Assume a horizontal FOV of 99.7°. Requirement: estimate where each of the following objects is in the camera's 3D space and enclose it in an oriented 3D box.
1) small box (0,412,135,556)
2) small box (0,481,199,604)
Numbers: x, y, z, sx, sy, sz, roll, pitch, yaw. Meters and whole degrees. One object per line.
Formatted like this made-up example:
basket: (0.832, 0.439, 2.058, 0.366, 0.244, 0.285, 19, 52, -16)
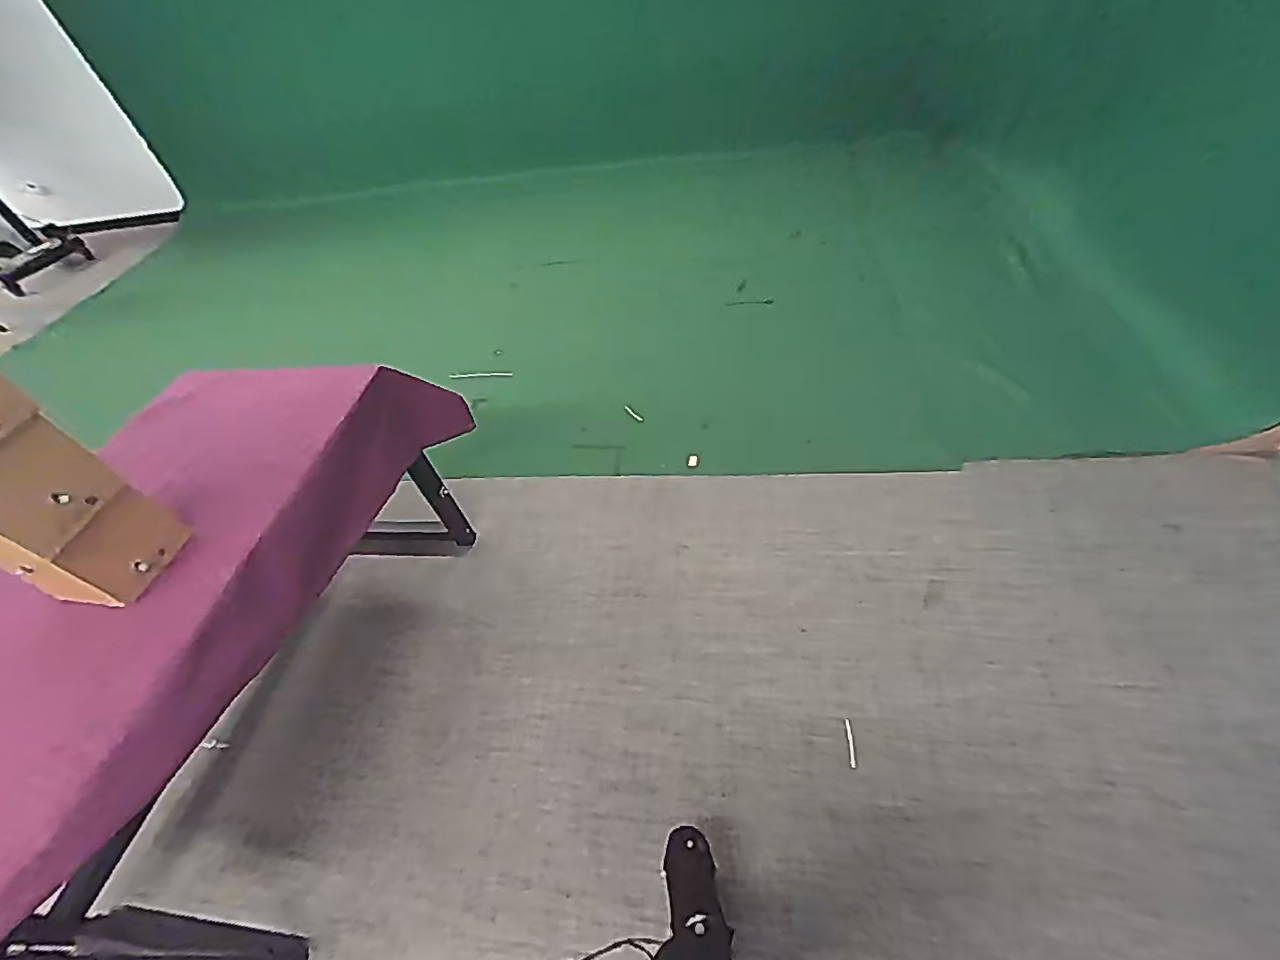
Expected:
small box: (-0.990, 0.007, 0.859, 0.179, 0.176, 0.168, 2, 51, 13)
small box: (-0.981, 0.110, 0.986, 0.179, 0.176, 0.168, 4, 50, 13)
